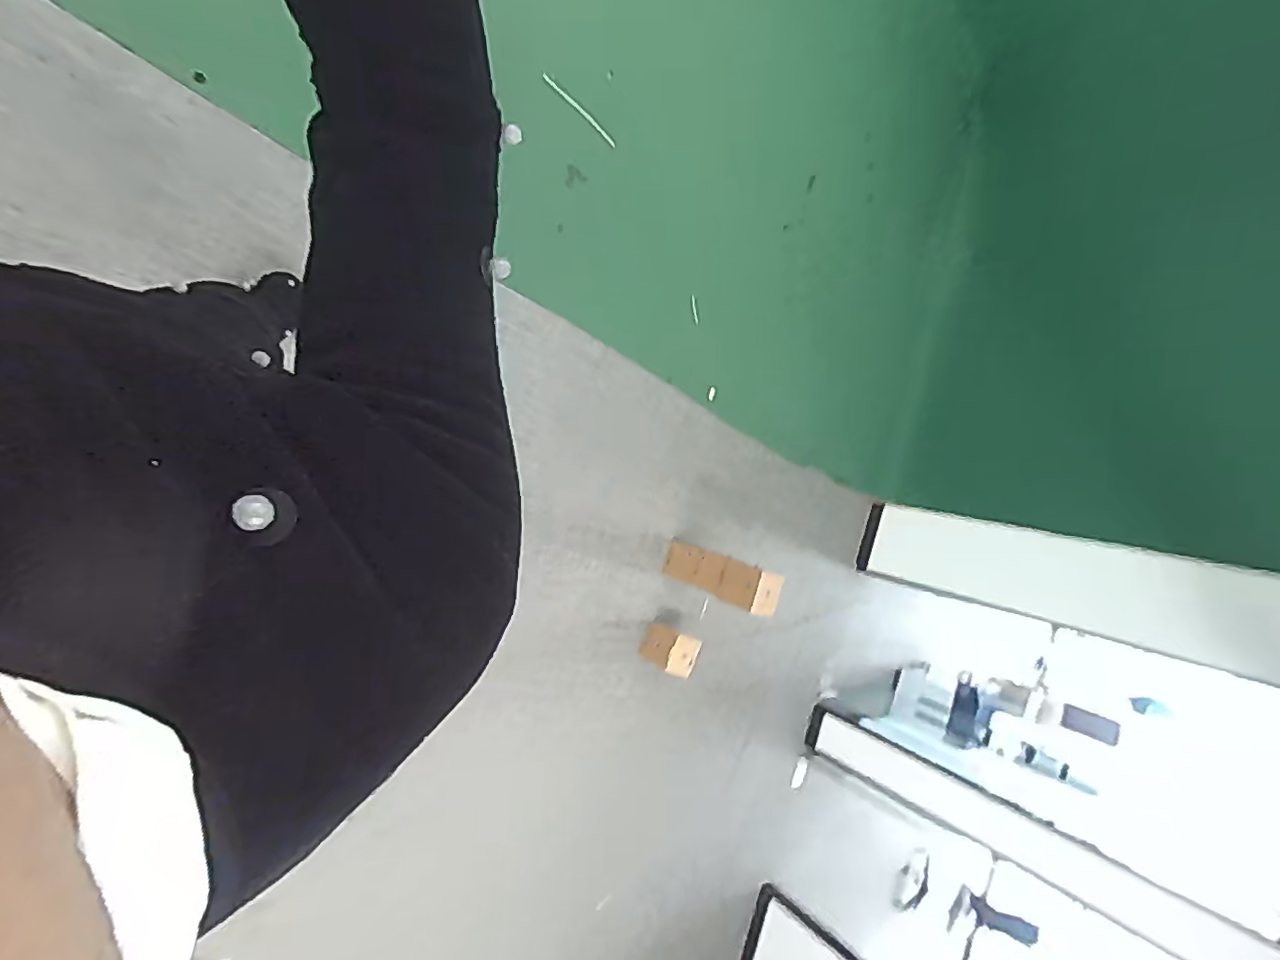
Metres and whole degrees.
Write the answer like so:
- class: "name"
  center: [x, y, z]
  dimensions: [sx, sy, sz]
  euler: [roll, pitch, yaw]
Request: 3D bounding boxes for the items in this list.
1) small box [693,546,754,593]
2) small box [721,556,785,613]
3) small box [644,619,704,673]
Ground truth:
- class: "small box"
  center: [0.349, 0.386, 2.290]
  dimensions: [0.179, 0.176, 0.168]
  euler: [19, 86, -43]
- class: "small box"
  center: [0.448, 0.413, 2.161]
  dimensions: [0.168, 0.176, 0.179]
  euler: [21, 85, -42]
- class: "small box"
  center: [0.147, 0.735, 2.402]
  dimensions: [0.179, 0.176, 0.168]
  euler: [31, 78, -40]
